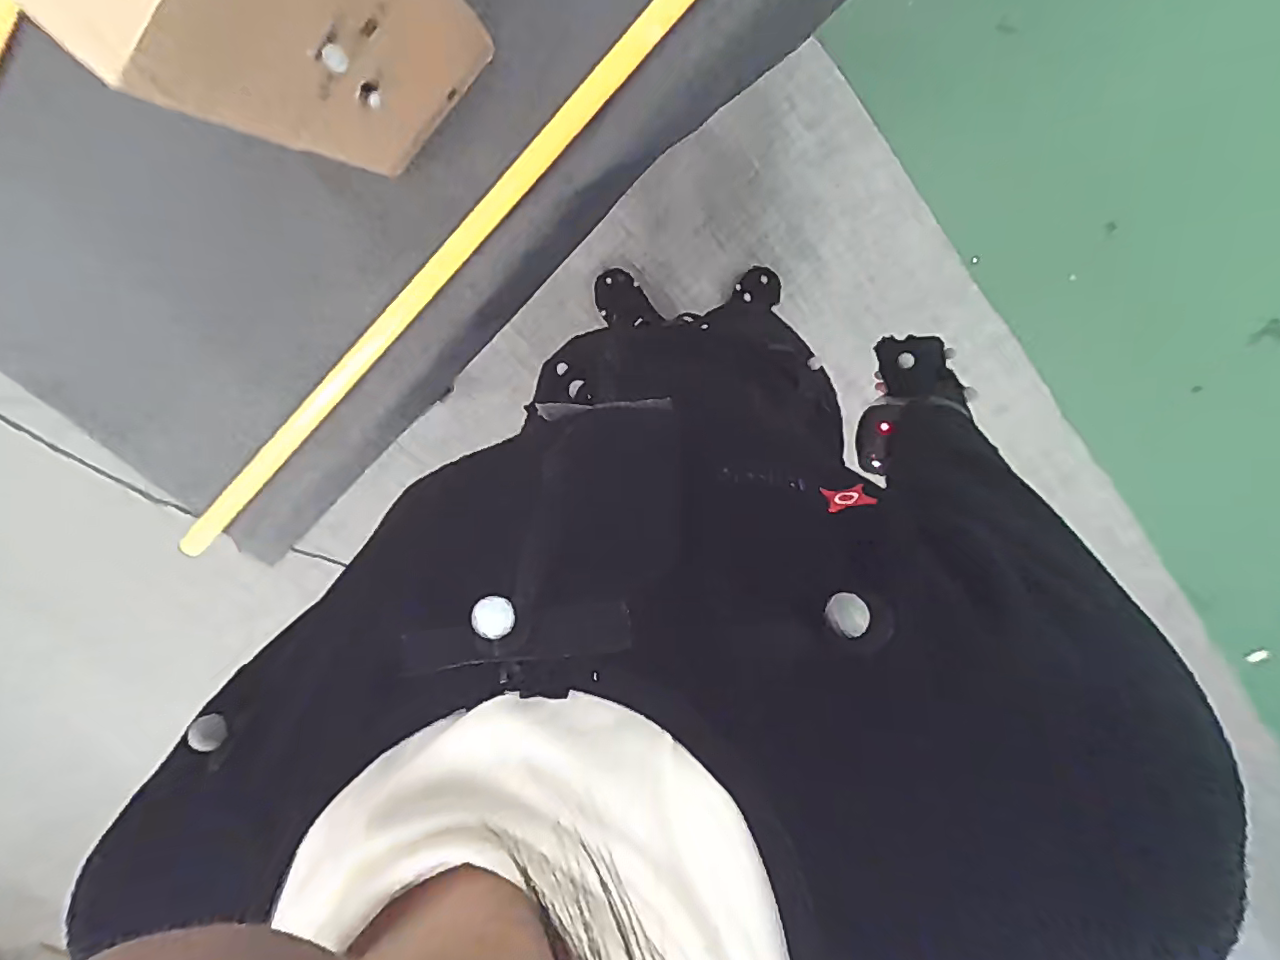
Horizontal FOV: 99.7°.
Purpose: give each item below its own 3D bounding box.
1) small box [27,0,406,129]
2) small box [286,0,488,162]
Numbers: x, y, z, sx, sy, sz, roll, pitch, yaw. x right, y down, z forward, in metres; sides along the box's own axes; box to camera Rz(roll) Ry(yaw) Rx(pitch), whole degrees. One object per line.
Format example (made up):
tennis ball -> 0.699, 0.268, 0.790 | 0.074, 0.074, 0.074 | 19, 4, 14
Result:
small box -> -0.267, -0.343, 0.304 | 0.168, 0.176, 0.179 | -41, 106, 16
small box -> -0.263, -0.407, 0.456 | 0.168, 0.176, 0.179 | -41, 105, 17
